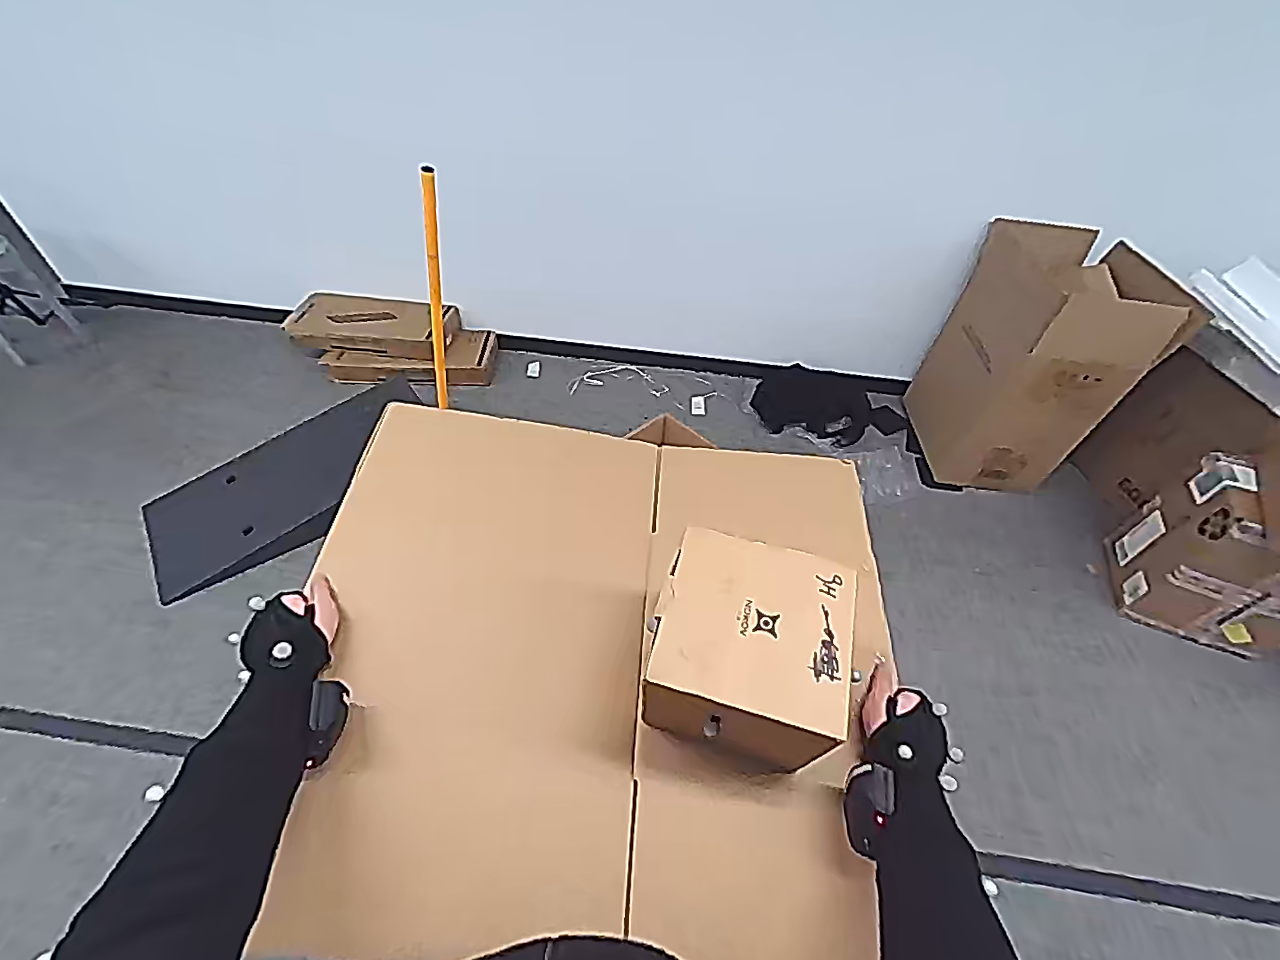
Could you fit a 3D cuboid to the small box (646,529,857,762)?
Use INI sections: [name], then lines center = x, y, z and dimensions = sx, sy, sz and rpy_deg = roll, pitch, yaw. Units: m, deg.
[small box]
center = 0.112, 0.179, 0.573
dimensions = 0.179, 0.176, 0.168
rpy_deg = 13, 55, 10
